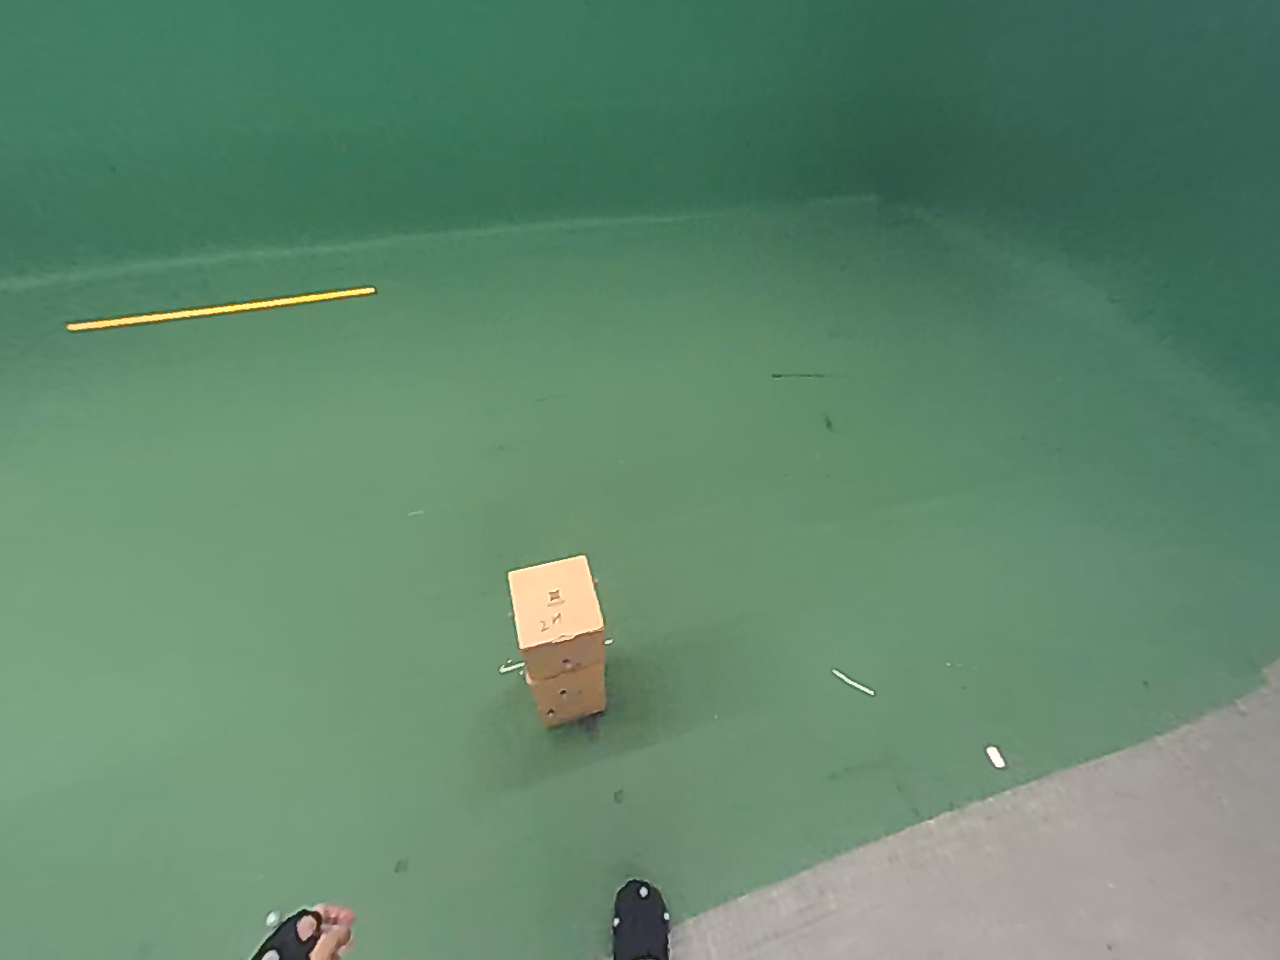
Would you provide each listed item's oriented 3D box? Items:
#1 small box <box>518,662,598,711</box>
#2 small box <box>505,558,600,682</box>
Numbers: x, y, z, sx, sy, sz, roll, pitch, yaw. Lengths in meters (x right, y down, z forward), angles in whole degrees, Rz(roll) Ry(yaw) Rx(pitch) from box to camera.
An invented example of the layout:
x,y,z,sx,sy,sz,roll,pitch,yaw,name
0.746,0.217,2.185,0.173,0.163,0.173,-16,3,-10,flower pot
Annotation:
x,y,z,sx,sy,sz,roll,pitch,yaw,name
-0.199,0.404,1.252,0.168,0.176,0.179,-11,52,-14,small box
-0.183,0.293,1.131,0.168,0.176,0.179,-10,52,-13,small box
